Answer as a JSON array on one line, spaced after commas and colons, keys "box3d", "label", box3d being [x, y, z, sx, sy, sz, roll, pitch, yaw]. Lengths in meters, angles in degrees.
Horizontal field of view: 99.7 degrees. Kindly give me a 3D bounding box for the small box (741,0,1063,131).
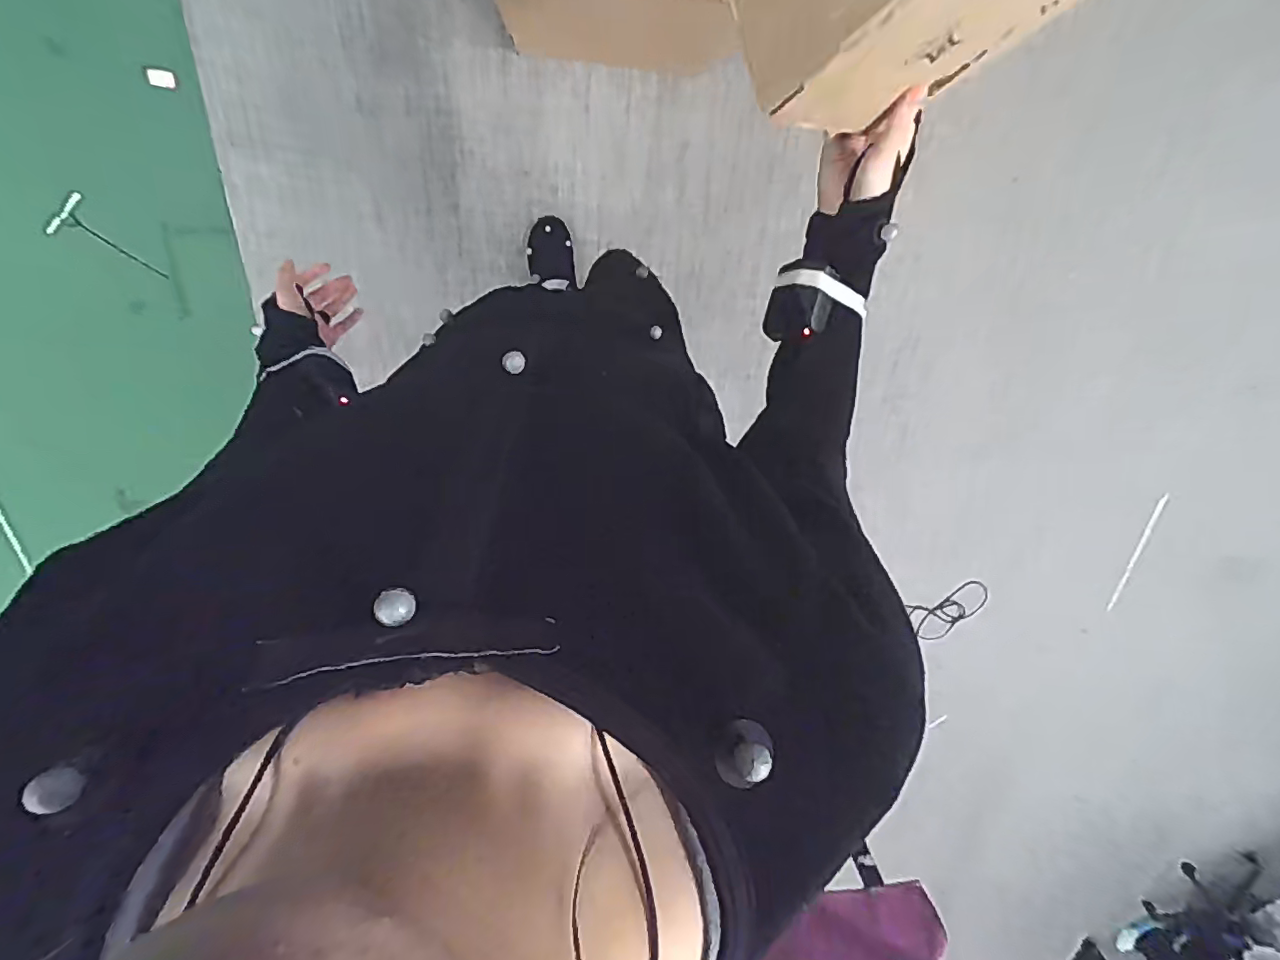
[{"box3d": [0.167, -0.370, 0.350, 0.179, 0.168, 0.176, -21, 94, -38], "label": "small box"}]
